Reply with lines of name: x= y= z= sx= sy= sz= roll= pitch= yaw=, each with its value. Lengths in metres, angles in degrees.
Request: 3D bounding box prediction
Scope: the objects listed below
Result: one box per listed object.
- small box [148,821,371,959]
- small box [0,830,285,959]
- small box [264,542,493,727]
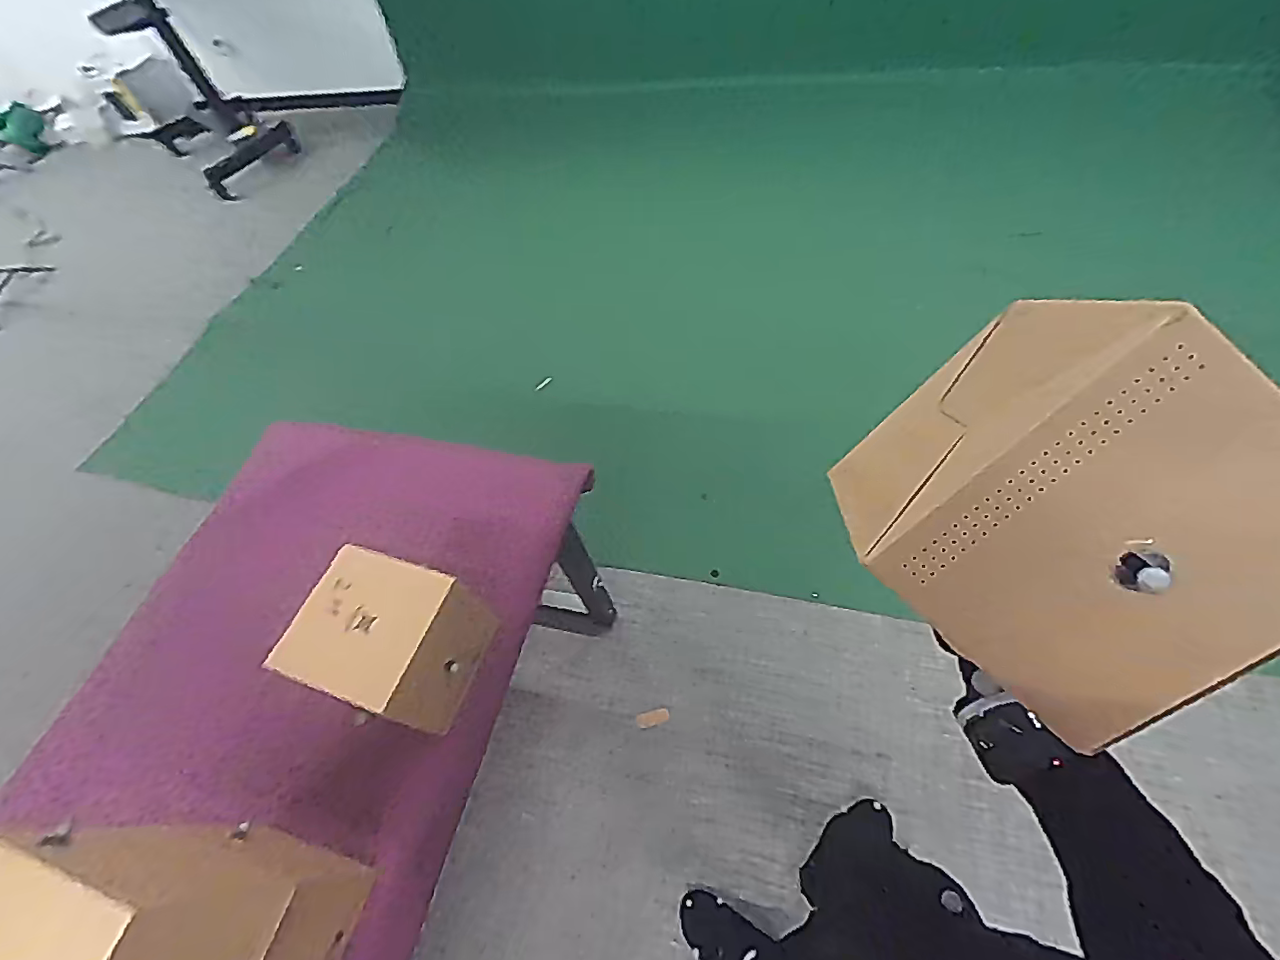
small box: x=-0.426 y=0.473 z=0.556 sx=0.179 sy=0.176 sz=0.168 roll=9 pitch=60 yaw=15
small box: x=-0.432 y=0.386 z=0.418 sx=0.179 sy=0.176 sz=0.168 roll=8 pitch=60 yaw=16
small box: x=-0.323 y=0.209 z=0.711 sx=0.179 sy=0.176 sz=0.168 roll=13 pitch=60 yaw=16
